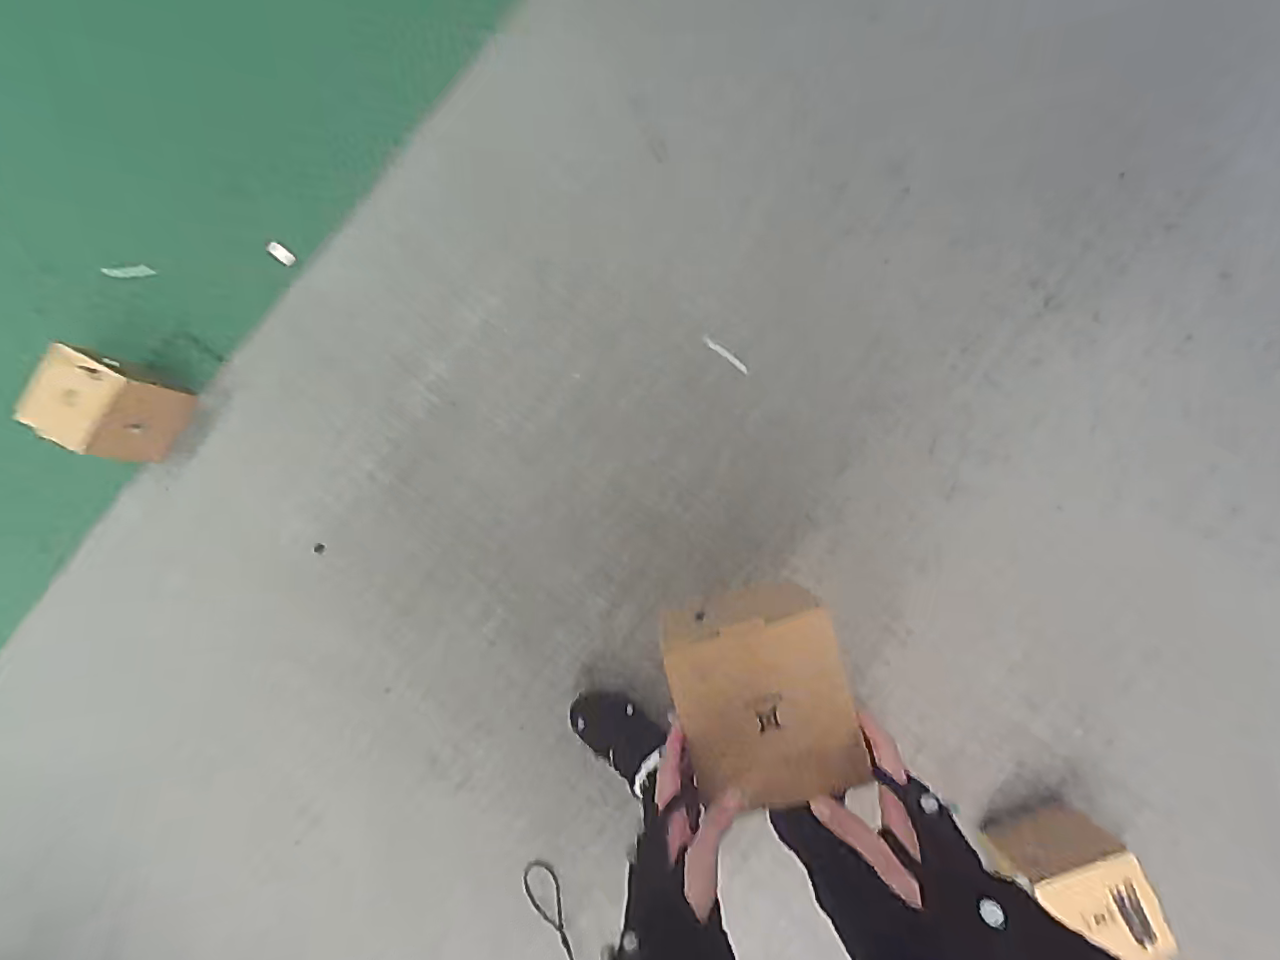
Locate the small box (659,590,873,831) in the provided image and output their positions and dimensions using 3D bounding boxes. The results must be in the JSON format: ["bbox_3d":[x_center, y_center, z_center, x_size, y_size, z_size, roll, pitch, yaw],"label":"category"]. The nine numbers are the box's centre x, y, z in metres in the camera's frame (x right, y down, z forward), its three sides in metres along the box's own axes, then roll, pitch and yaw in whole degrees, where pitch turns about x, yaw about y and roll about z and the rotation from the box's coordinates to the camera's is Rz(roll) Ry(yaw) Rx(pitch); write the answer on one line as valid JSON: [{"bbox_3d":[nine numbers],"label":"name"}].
[{"bbox_3d":[0.119,0.226,0.584,0.168,0.176,0.179,-16,88,3],"label":"small box"}]

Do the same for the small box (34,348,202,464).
[{"bbox_3d":[-1.108,-0.149,1.163,0.168,0.176,0.179,27,88,6],"label":"small box"}]
